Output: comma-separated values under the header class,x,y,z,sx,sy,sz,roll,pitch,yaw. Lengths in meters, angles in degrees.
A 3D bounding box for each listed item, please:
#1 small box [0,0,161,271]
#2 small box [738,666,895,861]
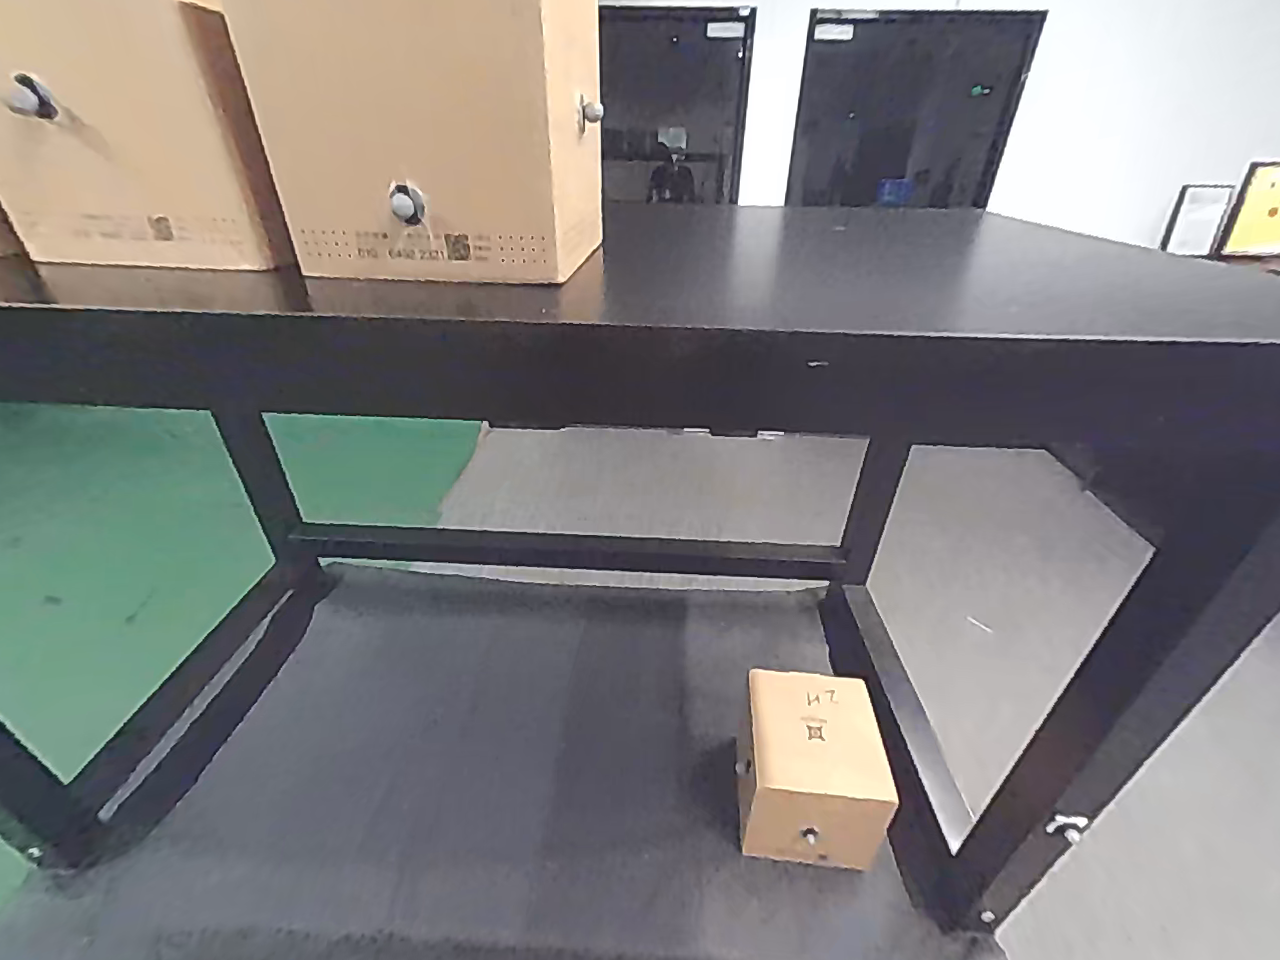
class,x,y,z,sx,sy,sz,roll,pitch,yaw
small box,-0.507,-0.256,0.391,0.168,0.176,0.179,3,33,3
small box,0.228,0.390,0.749,0.168,0.176,0.179,5,32,5
